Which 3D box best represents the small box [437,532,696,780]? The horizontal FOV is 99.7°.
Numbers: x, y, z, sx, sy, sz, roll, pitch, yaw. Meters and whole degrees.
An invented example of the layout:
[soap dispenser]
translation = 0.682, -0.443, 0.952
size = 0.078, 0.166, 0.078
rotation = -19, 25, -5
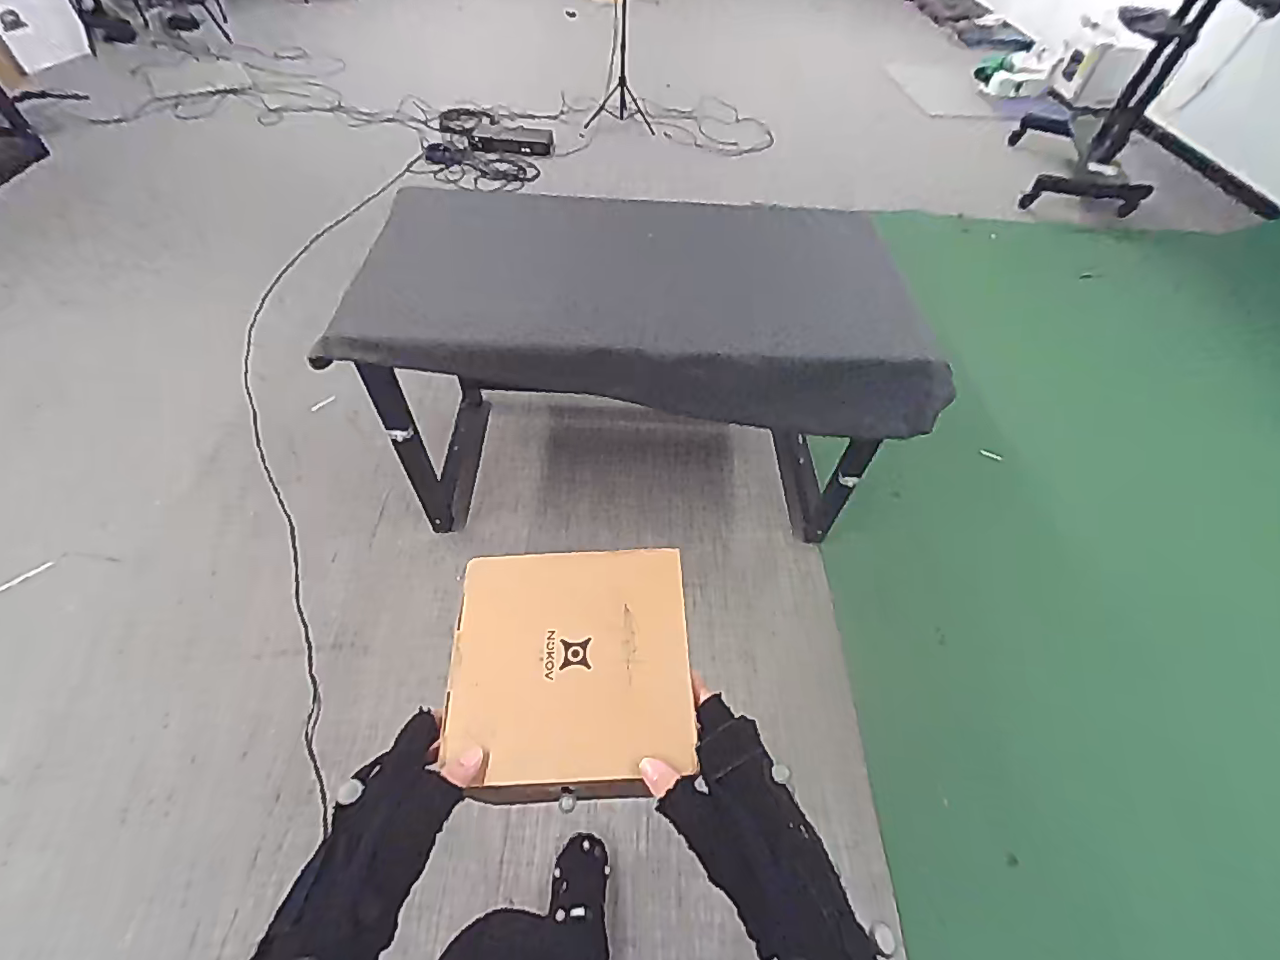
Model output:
[small box]
translation = -0.051, 0.157, 0.466
size = 0.179, 0.176, 0.168
rotation = -3, 58, -2
